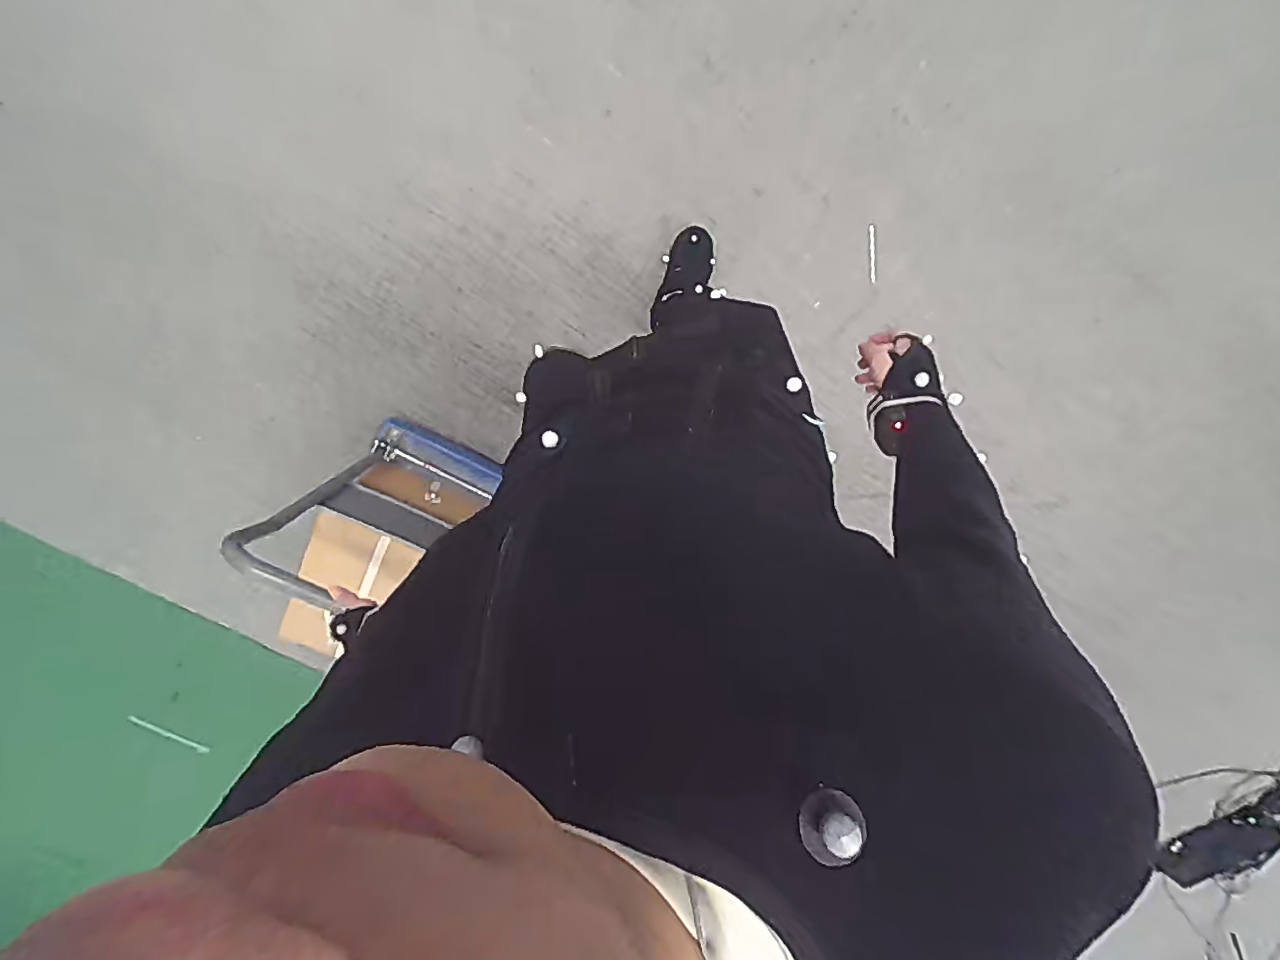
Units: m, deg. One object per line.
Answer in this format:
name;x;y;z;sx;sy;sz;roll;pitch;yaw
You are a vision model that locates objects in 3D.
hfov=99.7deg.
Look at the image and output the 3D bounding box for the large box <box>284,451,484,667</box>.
large box;-0.656;0.198;1.424;0.320;0.320;0.408;27;112;-11
